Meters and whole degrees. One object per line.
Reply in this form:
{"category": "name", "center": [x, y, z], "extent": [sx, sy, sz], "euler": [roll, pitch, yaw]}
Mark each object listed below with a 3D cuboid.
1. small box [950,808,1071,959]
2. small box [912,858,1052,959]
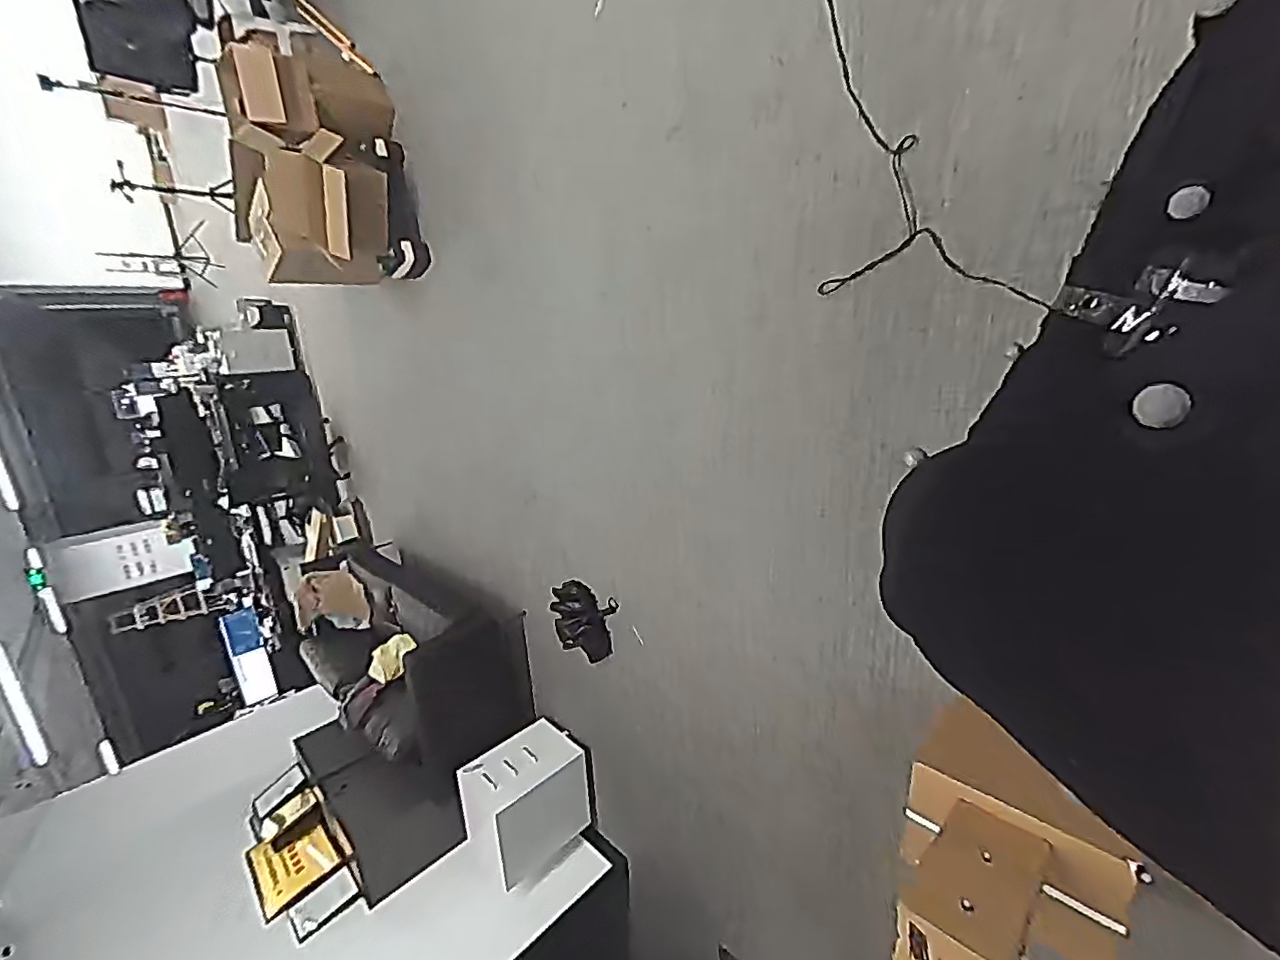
{"category": "small box", "center": [0.754, 0.823, 1.107], "extent": [0.179, 0.176, 0.168], "euler": [11, 110, 47]}
{"category": "small box", "center": [0.631, 0.854, 1.002], "extent": [0.179, 0.176, 0.168], "euler": [11, 110, 45]}
